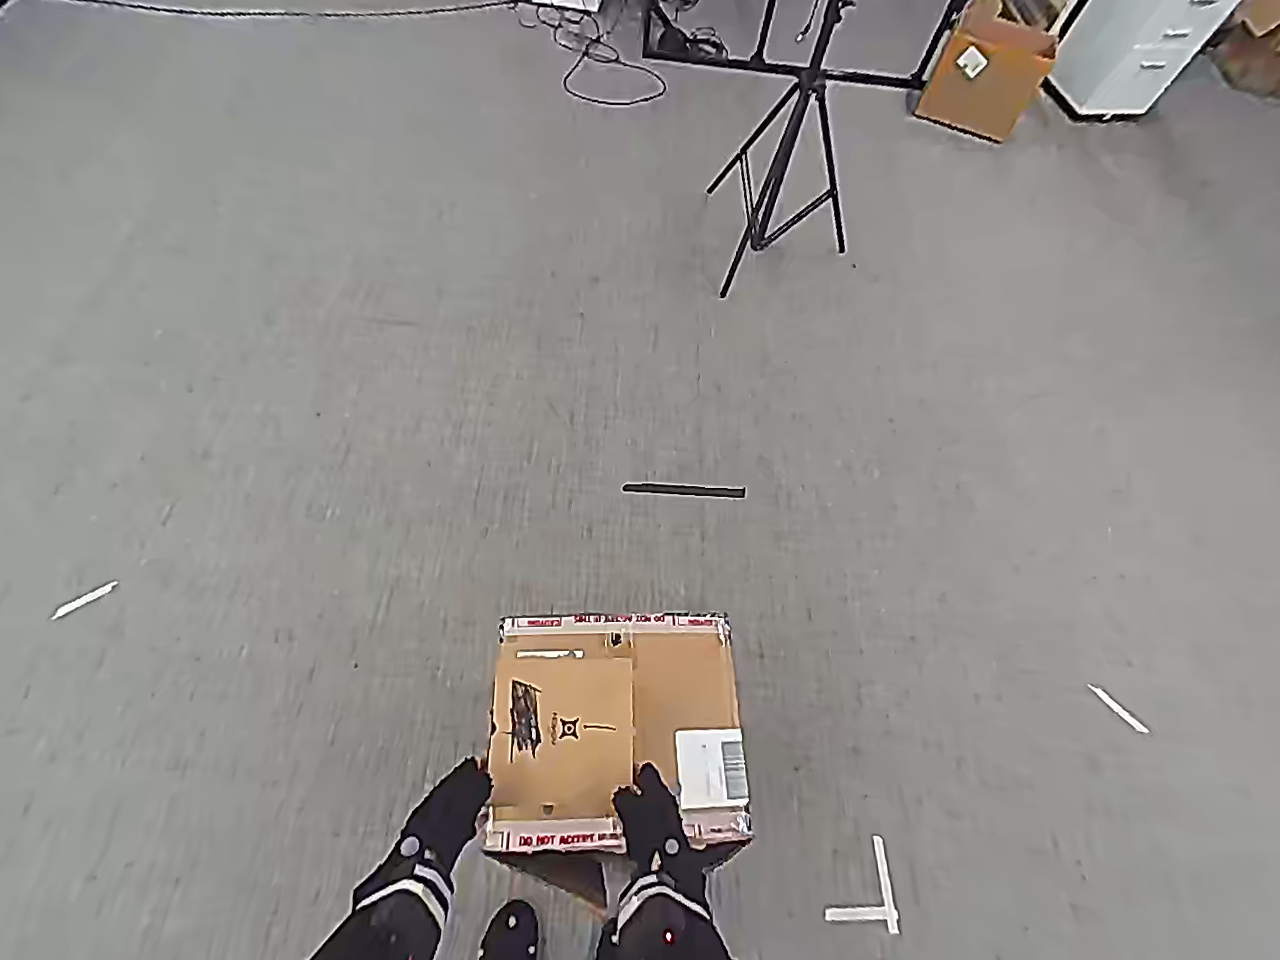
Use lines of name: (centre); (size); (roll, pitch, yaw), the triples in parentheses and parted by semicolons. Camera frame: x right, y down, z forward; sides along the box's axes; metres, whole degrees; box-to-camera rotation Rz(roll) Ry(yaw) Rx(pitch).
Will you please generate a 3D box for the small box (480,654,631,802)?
small box: (-0.106, 0.332, 0.728); (0.179, 0.176, 0.168); (2, 65, -7)
